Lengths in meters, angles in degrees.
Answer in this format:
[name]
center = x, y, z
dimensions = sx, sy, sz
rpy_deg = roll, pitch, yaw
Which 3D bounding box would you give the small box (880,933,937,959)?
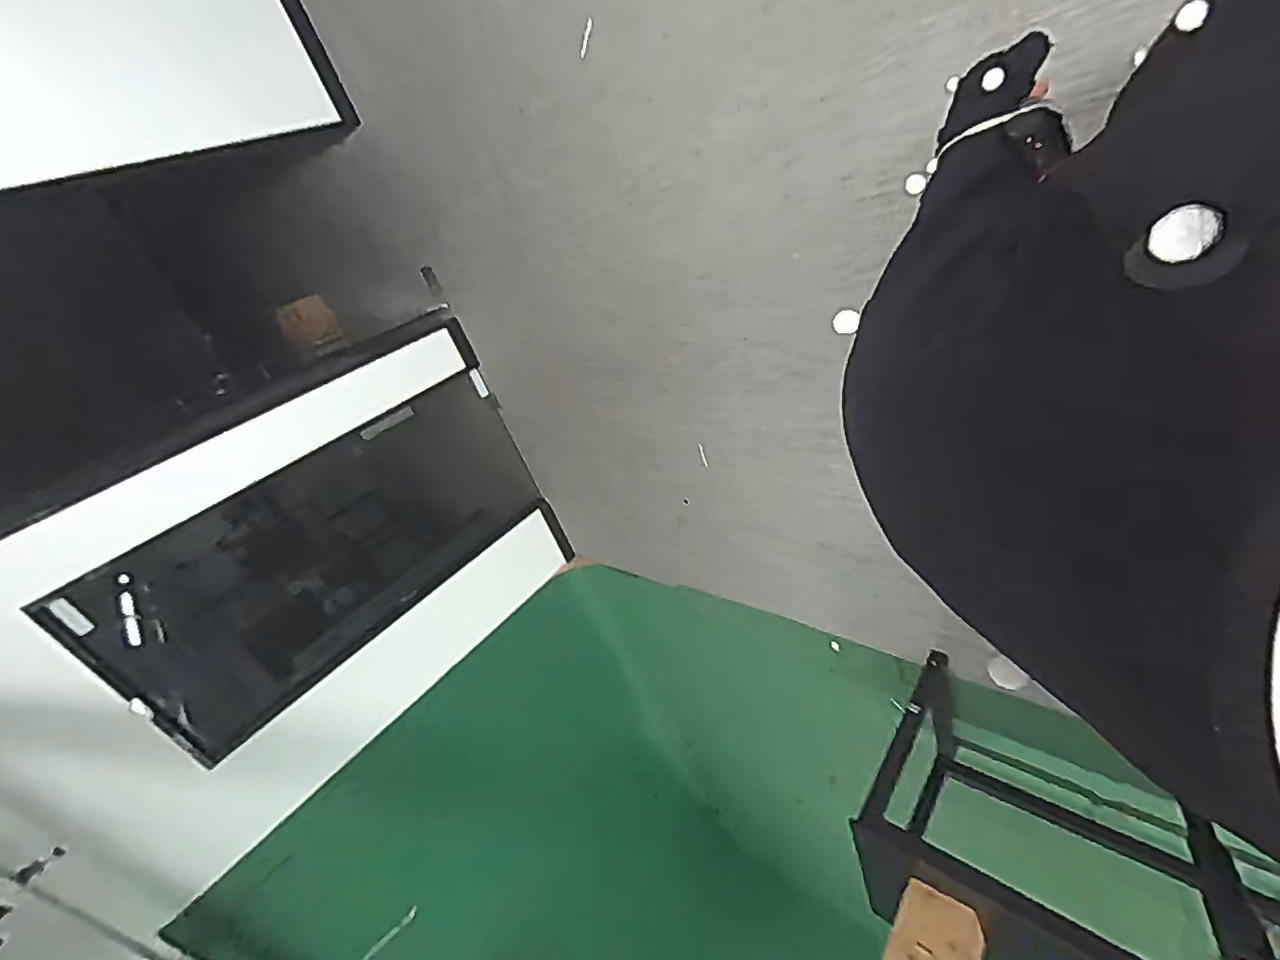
[small box]
center = 0.719, 1.337, 1.394
dimensions = 0.168, 0.176, 0.179
rpy_deg = 0, 124, 48
